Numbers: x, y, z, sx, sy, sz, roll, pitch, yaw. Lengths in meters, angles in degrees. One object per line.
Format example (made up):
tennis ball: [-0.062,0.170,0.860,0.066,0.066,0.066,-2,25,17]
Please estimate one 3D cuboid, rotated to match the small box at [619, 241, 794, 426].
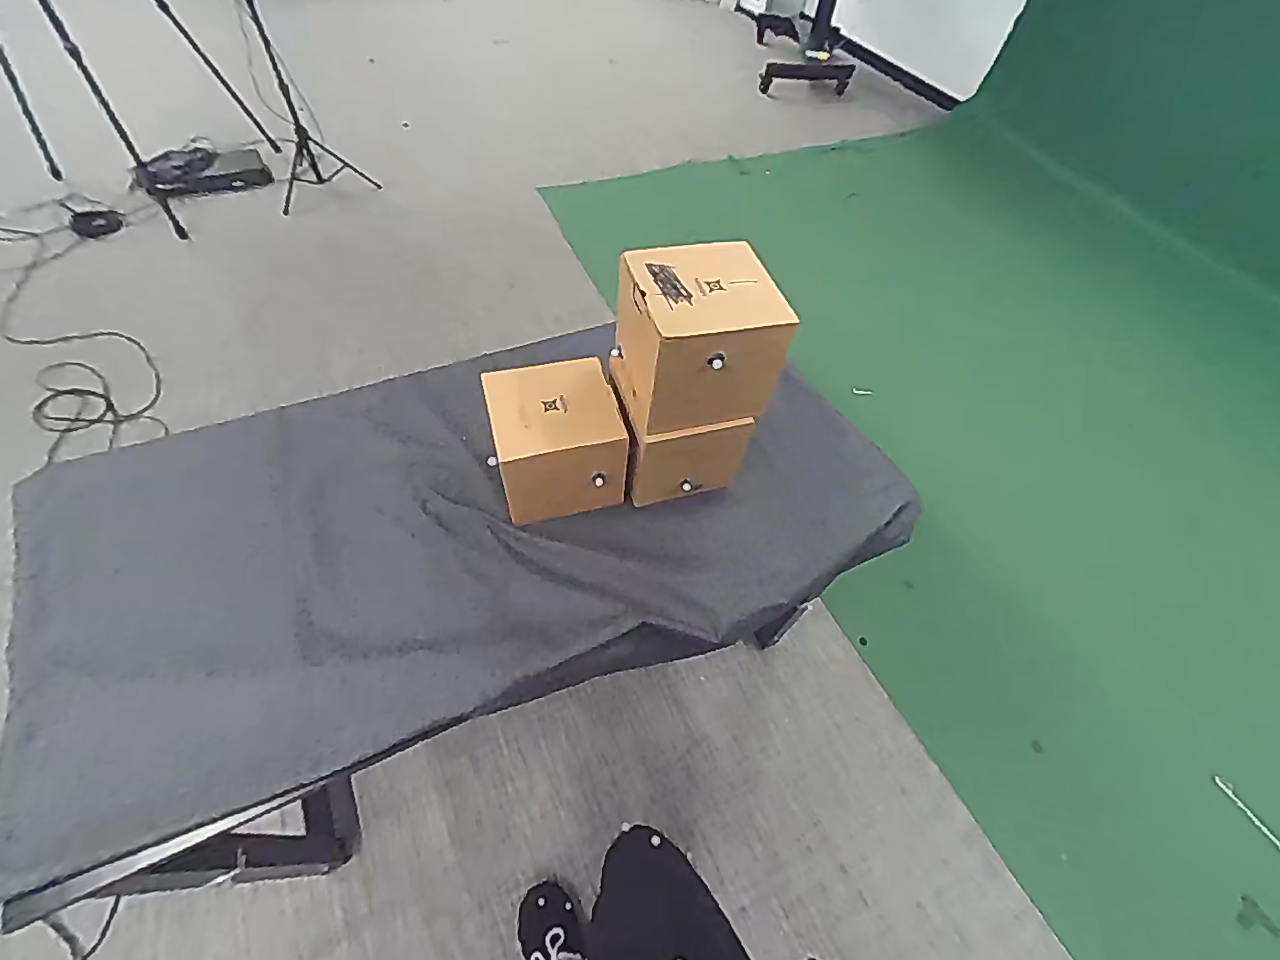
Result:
small box: [0.073,-0.190,0.724,0.179,0.176,0.168,-11,58,-13]
